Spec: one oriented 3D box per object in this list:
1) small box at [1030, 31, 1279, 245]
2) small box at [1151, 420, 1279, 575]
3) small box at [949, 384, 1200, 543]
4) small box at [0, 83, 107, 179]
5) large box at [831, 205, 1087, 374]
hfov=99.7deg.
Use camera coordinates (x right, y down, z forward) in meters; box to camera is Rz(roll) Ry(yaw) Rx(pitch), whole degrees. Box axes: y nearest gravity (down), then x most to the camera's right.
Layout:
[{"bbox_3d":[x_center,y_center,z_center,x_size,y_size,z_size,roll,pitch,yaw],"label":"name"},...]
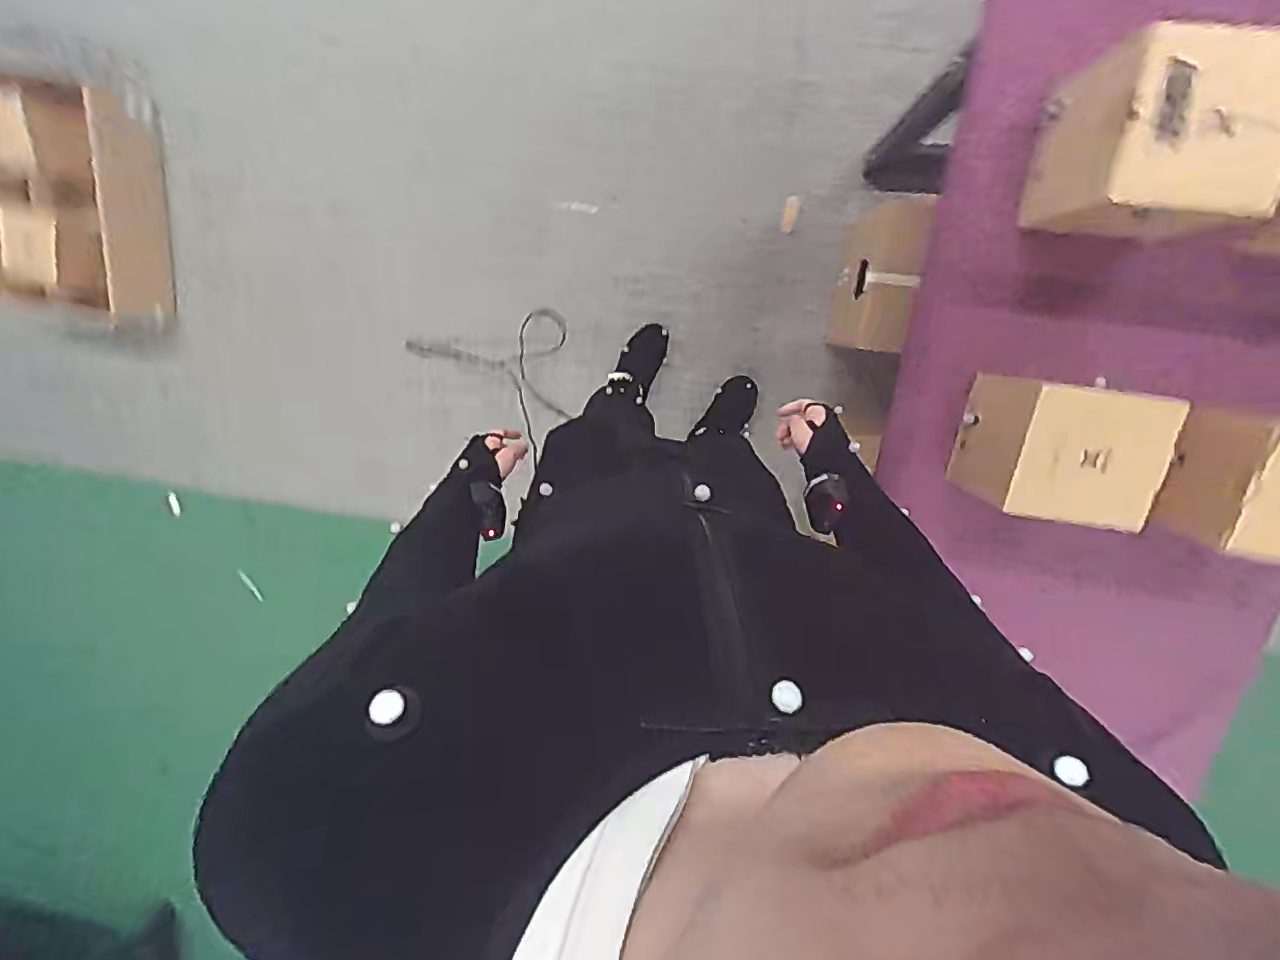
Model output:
[{"bbox_3d":[0.606,-0.378,0.628,0.179,0.176,0.168,7,106,3],"label":"small box"},{"bbox_3d":[0.831,0.023,0.715,0.179,0.176,0.168,11,107,5],"label":"small box"},{"bbox_3d":[0.562,-0.032,0.730,0.179,0.176,0.168,10,105,3],"label":"small box"},{"bbox_3d":[-1.601,-0.931,1.449,0.168,0.176,0.179,5,106,5],"label":"small box"},{"bbox_3d":[0.717,-0.439,1.291,0.408,0.320,0.320,8,107,3],"label":"large box"}]
